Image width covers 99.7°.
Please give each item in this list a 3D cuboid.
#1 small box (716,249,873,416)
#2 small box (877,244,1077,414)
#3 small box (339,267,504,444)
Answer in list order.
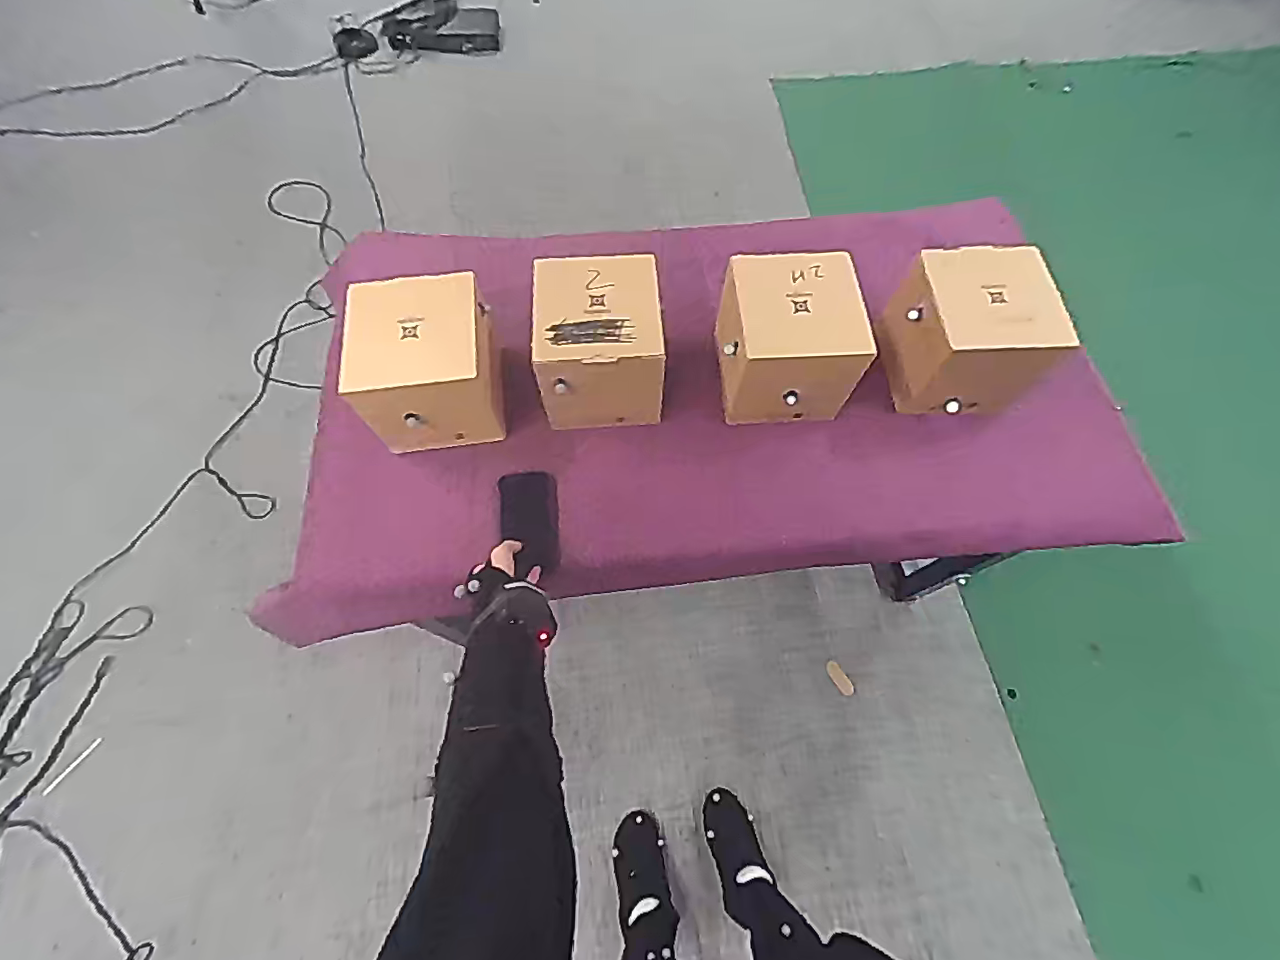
[{"bbox_3d":[0.207,-0.202,0.777,0.168,0.176,0.179,-2,66,-2],"label":"small box"},{"bbox_3d":[0.467,-0.214,0.785,0.168,0.176,0.179,-1,66,0],"label":"small box"},{"bbox_3d":[-0.291,-0.162,0.755,0.168,0.176,0.179,-8,65,-4],"label":"small box"}]
